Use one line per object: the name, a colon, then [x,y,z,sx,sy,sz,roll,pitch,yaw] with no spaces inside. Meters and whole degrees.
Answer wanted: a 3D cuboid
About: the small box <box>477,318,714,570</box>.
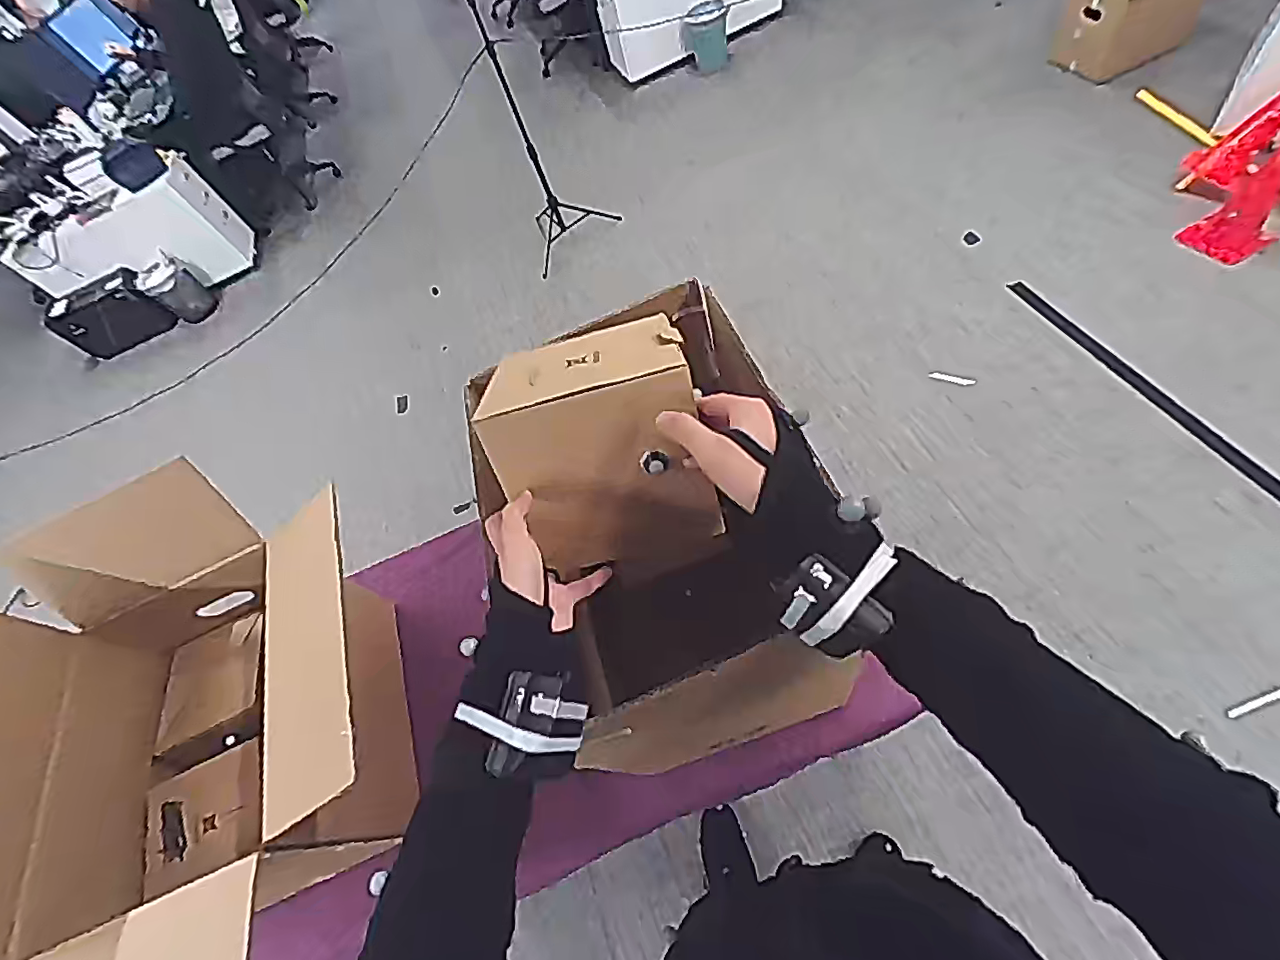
small box: [-0.031,-0.038,0.537,0.179,0.176,0.168,-16,28,6]
